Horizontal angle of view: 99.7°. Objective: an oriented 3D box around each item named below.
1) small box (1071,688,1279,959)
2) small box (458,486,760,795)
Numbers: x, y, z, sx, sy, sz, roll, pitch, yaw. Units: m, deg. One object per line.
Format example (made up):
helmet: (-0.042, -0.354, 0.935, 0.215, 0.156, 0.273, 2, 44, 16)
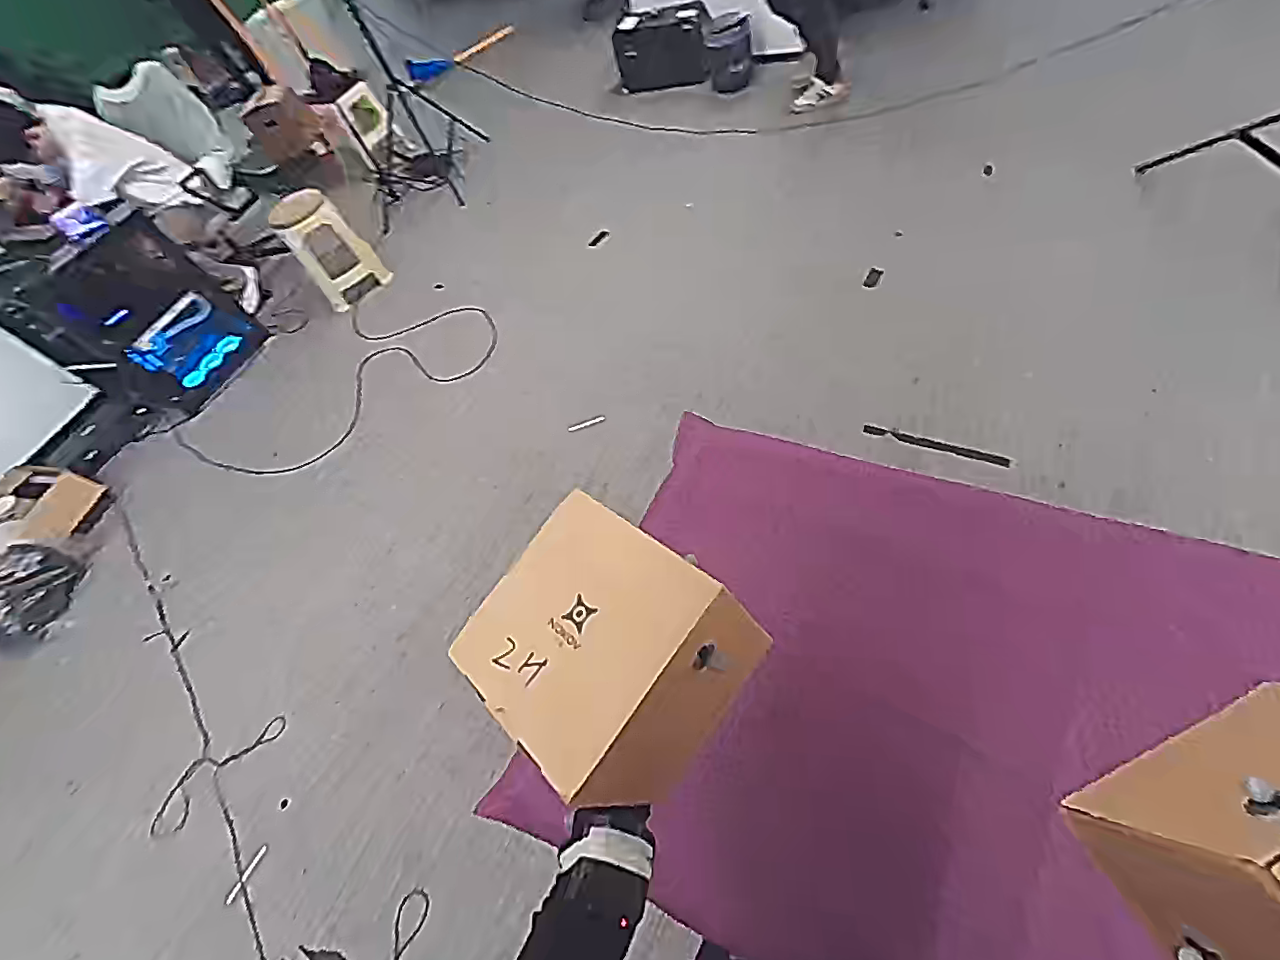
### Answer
small box: (0.379, 0.213, 0.265, 0.179, 0.176, 0.168, -29, 65, -1)
small box: (-0.013, 0.141, 0.476, 0.168, 0.176, 0.179, 31, 79, 36)
